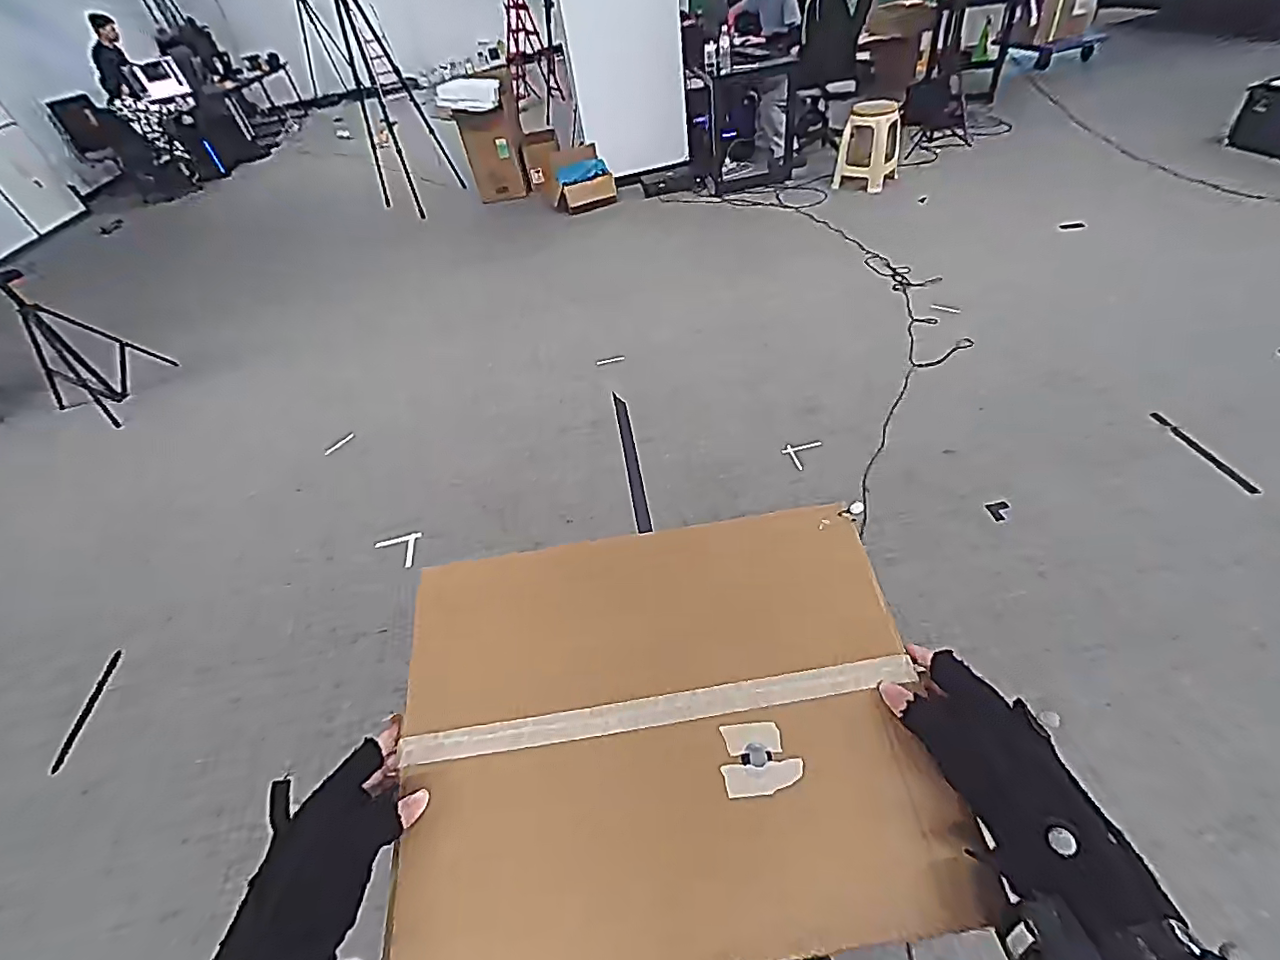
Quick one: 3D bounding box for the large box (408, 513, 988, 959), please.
[{"bbox_3d":[0.030,0.272,0.563,0.408,0.320,0.320,-9,56,-1],"label":"large box"}]
